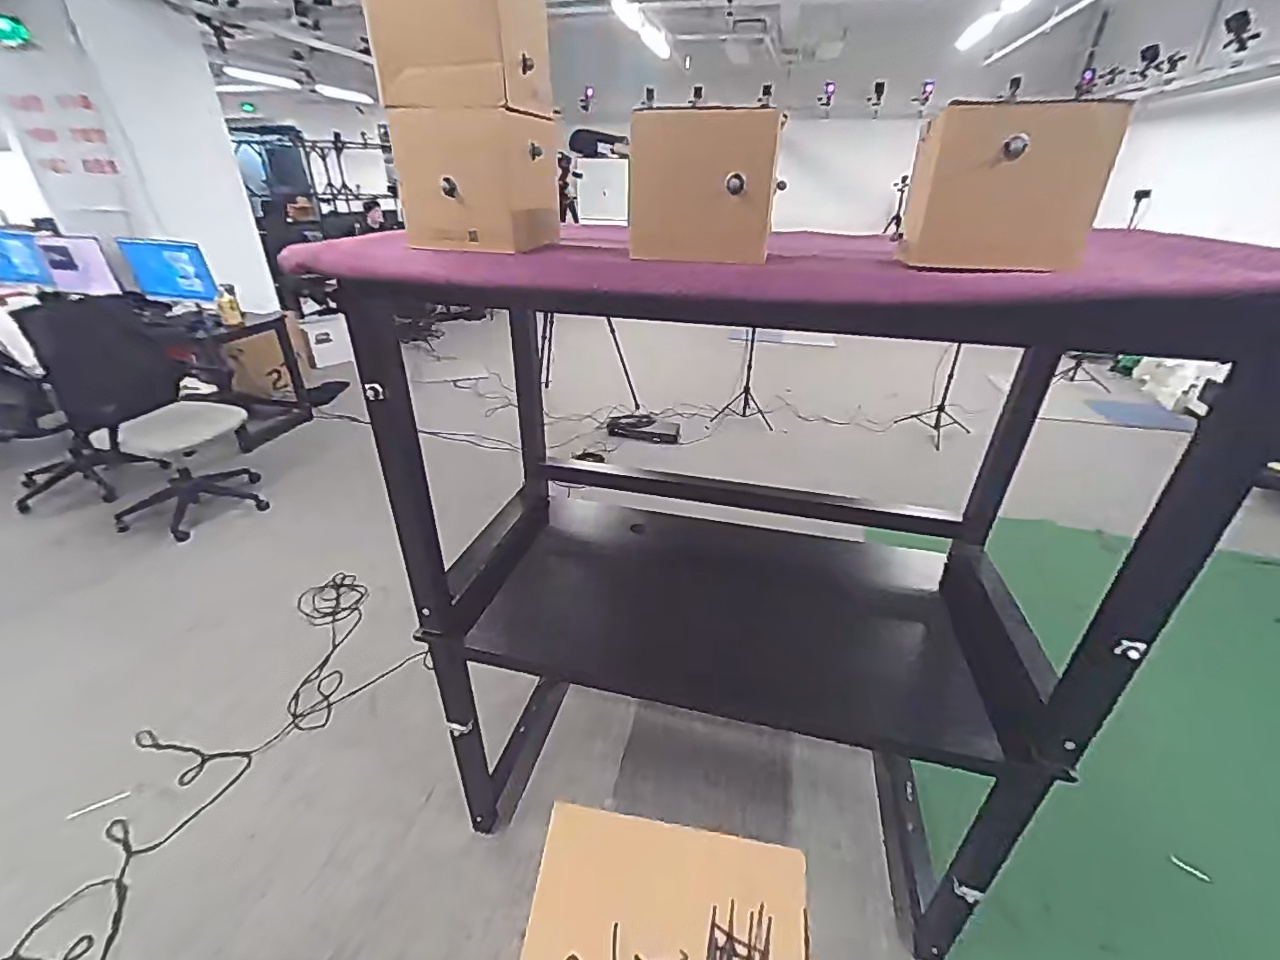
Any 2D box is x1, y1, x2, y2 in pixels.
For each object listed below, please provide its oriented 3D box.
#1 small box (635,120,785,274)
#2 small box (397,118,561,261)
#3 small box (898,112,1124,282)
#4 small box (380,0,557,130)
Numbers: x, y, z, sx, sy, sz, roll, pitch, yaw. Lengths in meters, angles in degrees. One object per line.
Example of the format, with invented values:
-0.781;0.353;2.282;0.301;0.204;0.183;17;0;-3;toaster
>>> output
0.095;-0.378;0.733;0.179;0.176;0.168;7;28;11;small box
-0.218;-0.421;0.791;0.168;0.176;0.179;8;29;10;small box
0.439;-0.345;0.680;0.179;0.176;0.168;8;27;13;small box
-0.219;-0.563;0.713;0.179;0.176;0.168;7;29;9;small box
